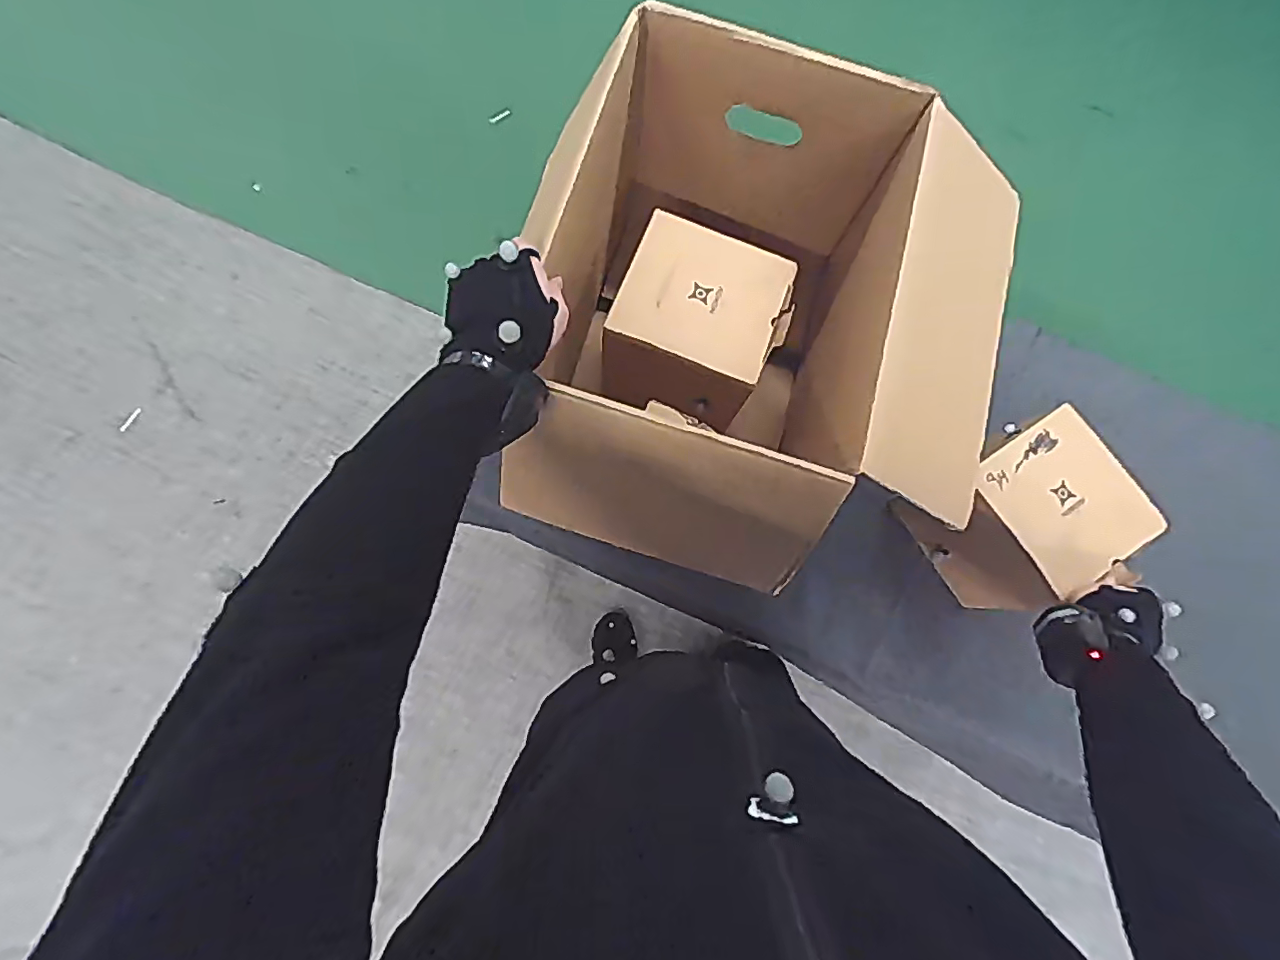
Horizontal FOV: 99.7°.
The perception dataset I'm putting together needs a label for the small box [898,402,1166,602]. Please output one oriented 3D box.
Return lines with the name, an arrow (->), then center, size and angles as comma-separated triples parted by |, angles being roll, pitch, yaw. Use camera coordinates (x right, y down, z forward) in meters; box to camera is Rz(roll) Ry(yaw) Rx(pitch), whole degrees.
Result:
small box -> 0.473, 0.034, 0.682 | 0.168, 0.176, 0.179 | -30, 82, -8
